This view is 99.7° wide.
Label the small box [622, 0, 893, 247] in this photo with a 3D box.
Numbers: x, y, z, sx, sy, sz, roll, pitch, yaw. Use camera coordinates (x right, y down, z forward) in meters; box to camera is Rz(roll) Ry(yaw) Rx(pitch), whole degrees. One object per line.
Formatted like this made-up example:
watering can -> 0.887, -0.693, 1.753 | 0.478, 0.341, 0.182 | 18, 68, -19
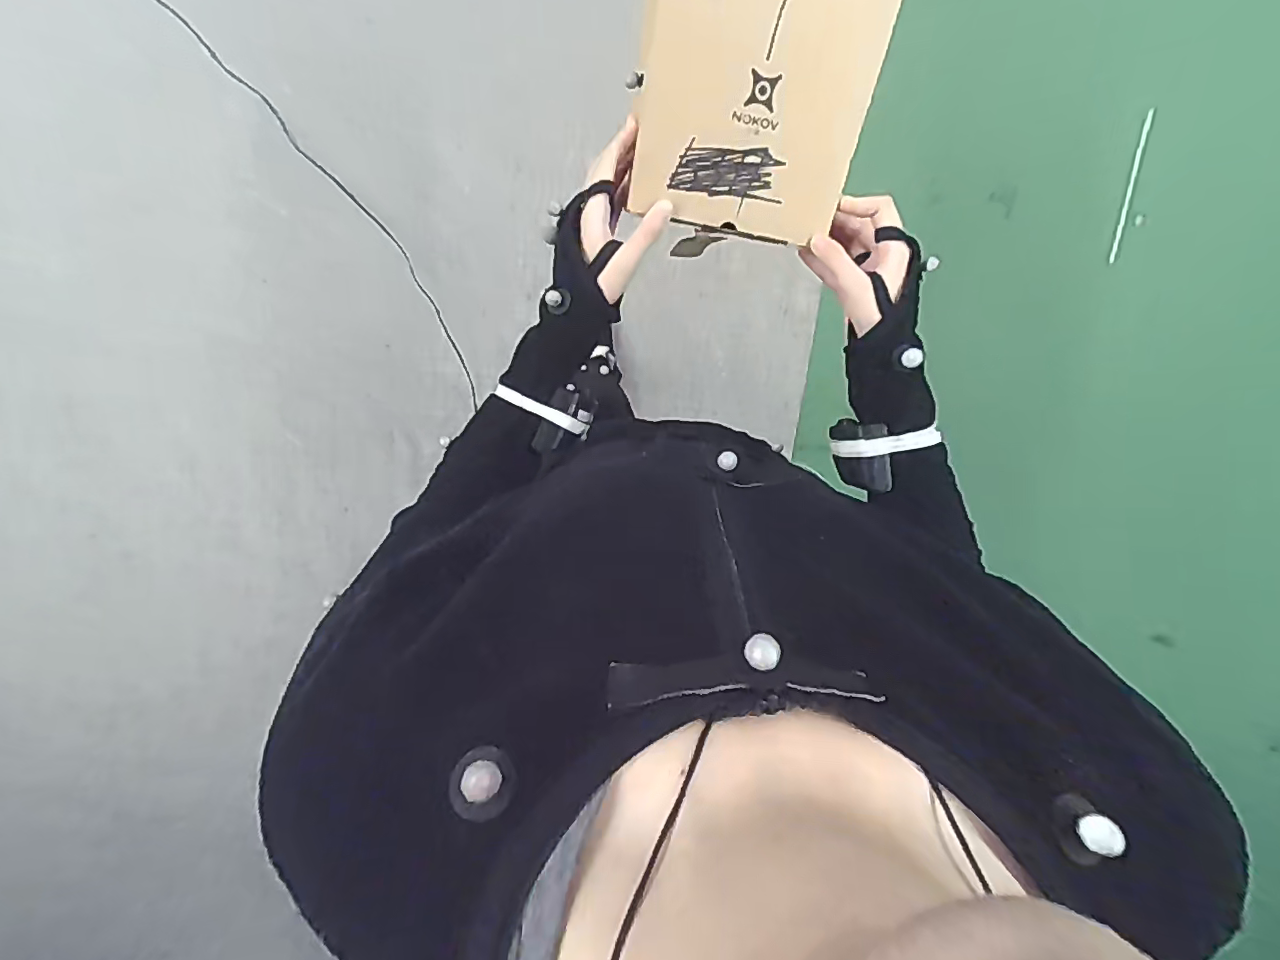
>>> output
small box -> 0.077, -0.314, 0.465 | 0.168, 0.176, 0.179 | 6, 117, -8
